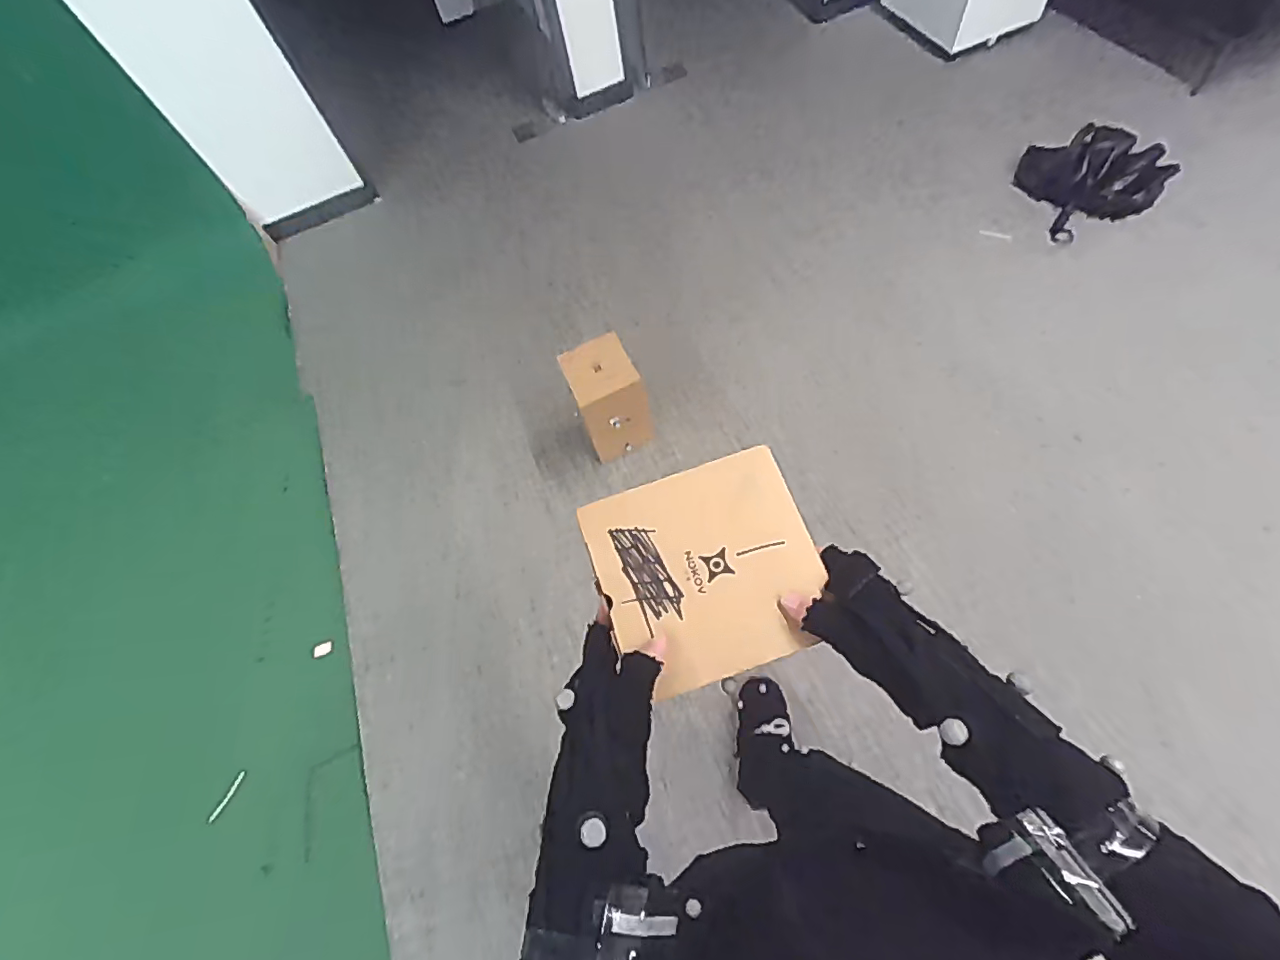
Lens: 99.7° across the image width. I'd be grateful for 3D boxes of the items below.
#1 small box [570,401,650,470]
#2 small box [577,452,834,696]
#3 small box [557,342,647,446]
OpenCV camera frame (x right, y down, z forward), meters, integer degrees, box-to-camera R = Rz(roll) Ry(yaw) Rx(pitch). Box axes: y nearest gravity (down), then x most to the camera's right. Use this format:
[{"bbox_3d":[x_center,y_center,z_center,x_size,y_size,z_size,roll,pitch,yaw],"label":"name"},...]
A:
[{"bbox_3d":[-0.080,-0.159,1.568,0.179,0.176,0.168,-24,61,-4],"label":"small box"},{"bbox_3d":[0.055,0.100,0.526,0.179,0.176,0.168,-19,71,-4],"label":"small box"},{"bbox_3d":[-0.096,-0.220,1.416,0.168,0.176,0.179,-26,63,-3],"label":"small box"}]
